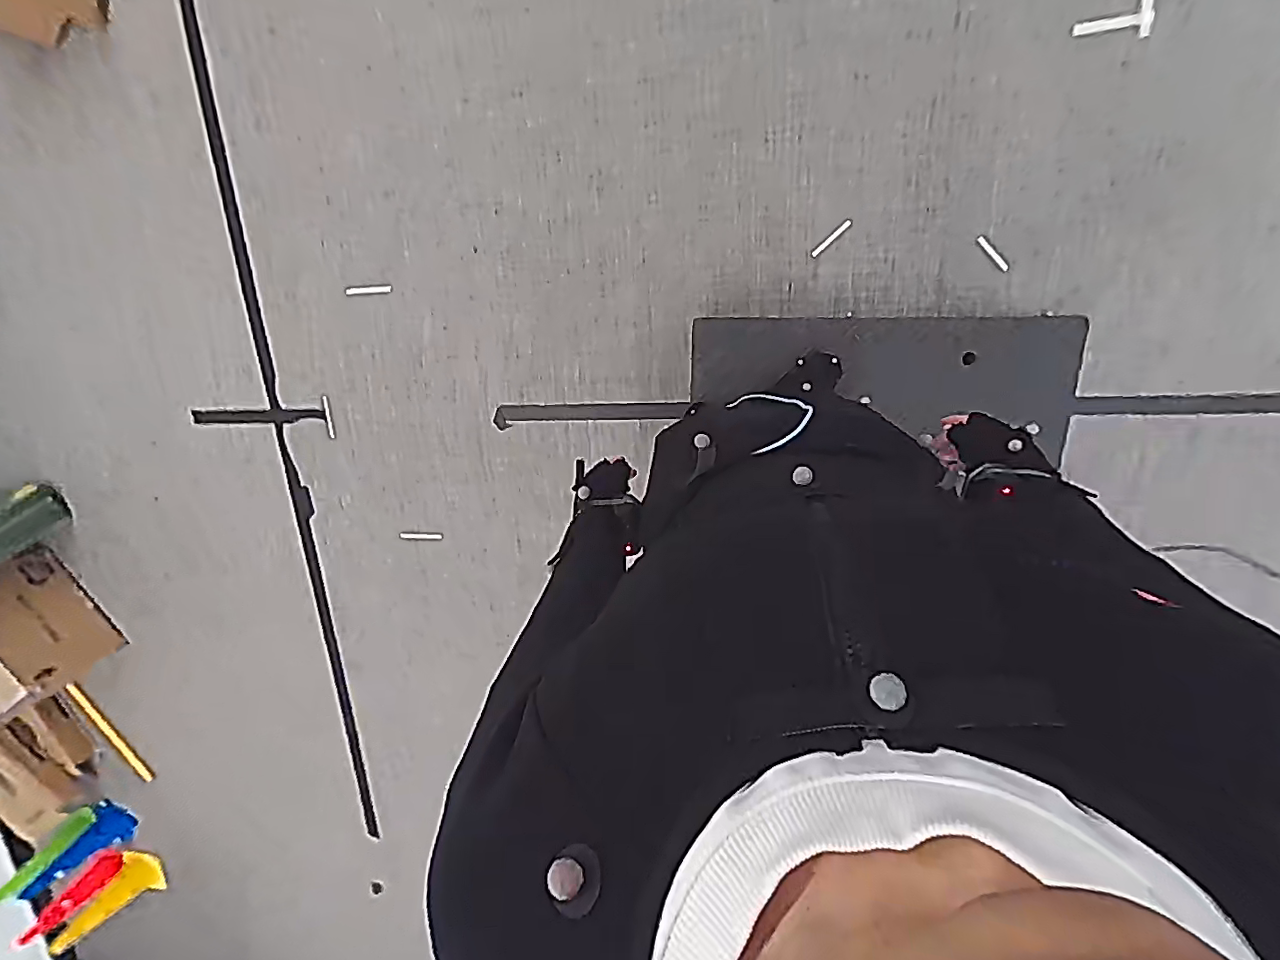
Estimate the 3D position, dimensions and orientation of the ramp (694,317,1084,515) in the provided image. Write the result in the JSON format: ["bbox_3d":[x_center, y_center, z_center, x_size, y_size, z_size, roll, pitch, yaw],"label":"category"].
[{"bbox_3d":[0.640,-0.162,1.424,0.991,0.206,0.509,-1,102,10],"label":"ramp"}]
